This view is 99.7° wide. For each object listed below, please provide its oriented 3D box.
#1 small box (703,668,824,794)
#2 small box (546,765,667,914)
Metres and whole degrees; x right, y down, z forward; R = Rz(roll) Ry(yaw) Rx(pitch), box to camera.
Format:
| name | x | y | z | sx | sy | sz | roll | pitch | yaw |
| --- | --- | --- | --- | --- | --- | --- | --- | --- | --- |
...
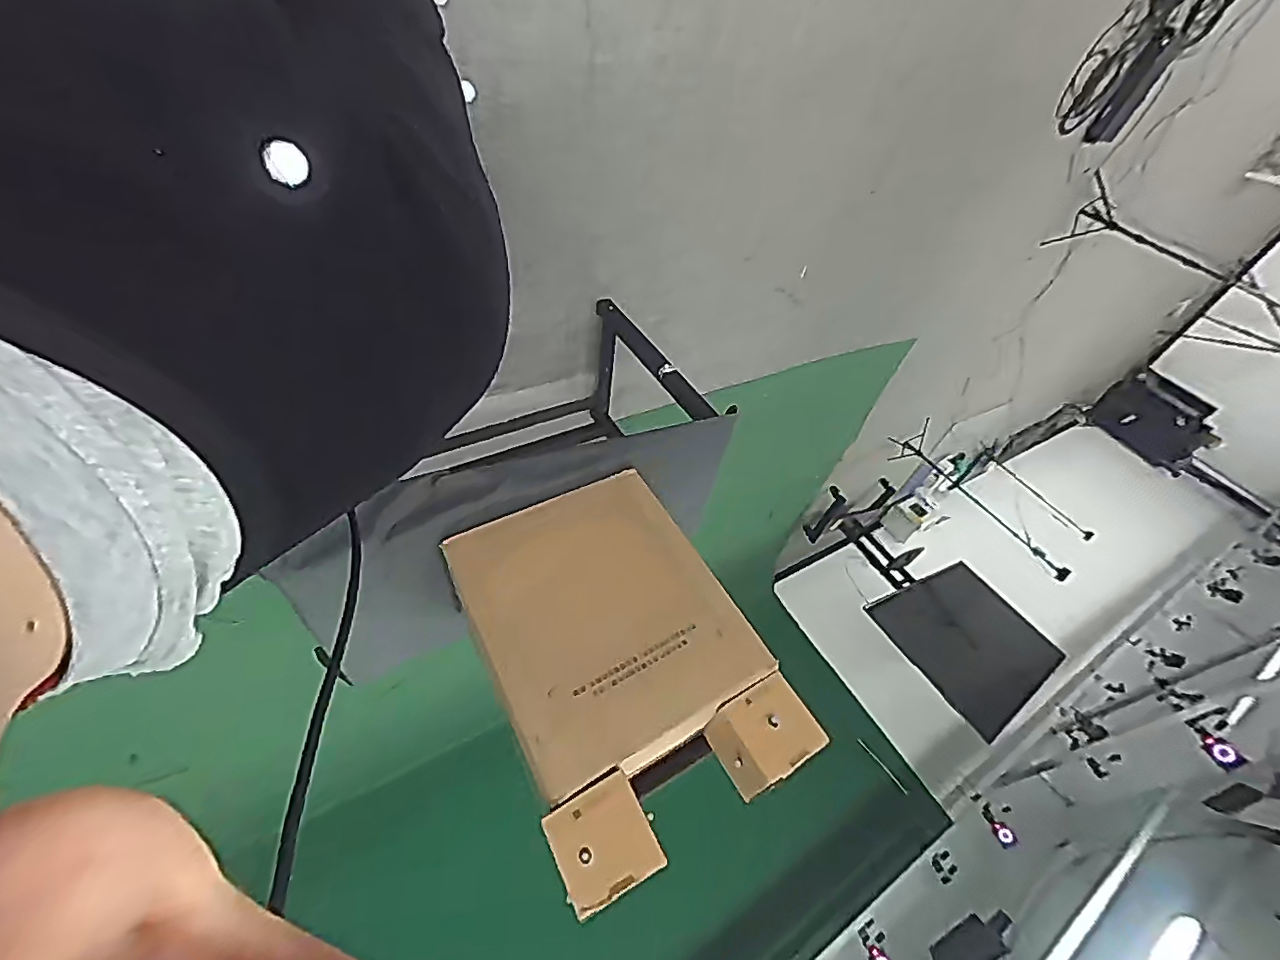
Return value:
| name | x | y | z | sx | sy | sz | roll | pitch | yaw |
| --- | --- | --- | --- | --- | --- | --- | --- | --- | --- |
| small box | 0.259 | 0.540 | 1.179 | 0.168 | 0.176 | 0.179 | -22 | 146 | -25 |
| small box | -0.064 | 0.661 | 1.008 | 0.168 | 0.176 | 0.179 | -24 | 149 | -17 |
